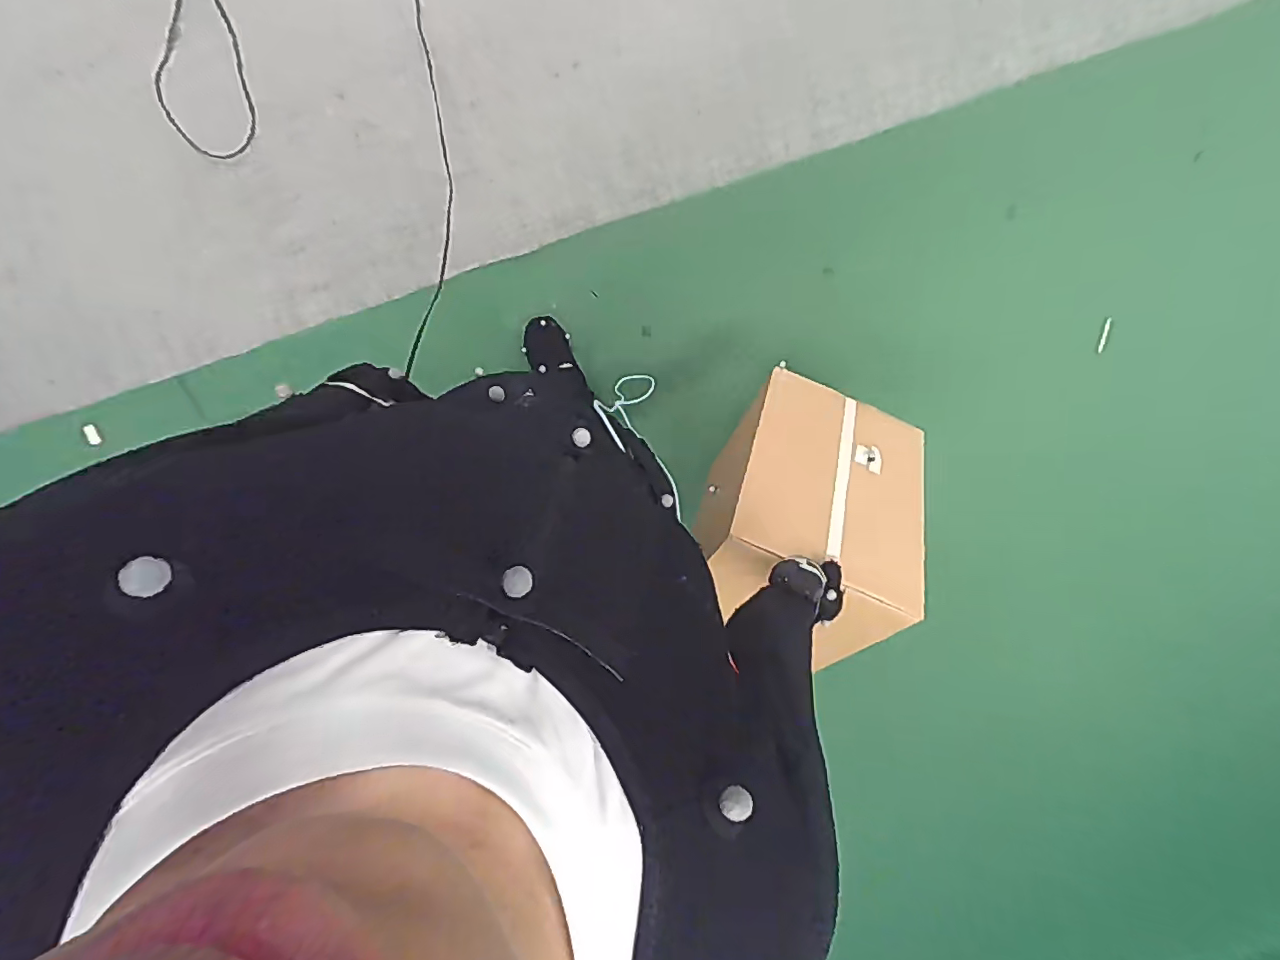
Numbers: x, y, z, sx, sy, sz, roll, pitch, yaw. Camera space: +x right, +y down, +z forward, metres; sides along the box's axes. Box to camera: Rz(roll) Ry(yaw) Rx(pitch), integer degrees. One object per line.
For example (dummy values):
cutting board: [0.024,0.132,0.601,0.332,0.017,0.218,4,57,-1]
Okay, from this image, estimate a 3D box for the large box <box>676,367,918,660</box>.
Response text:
large box: [0.296,0.069,1.040,0.320,0.408,0.320,24,143,-2]
